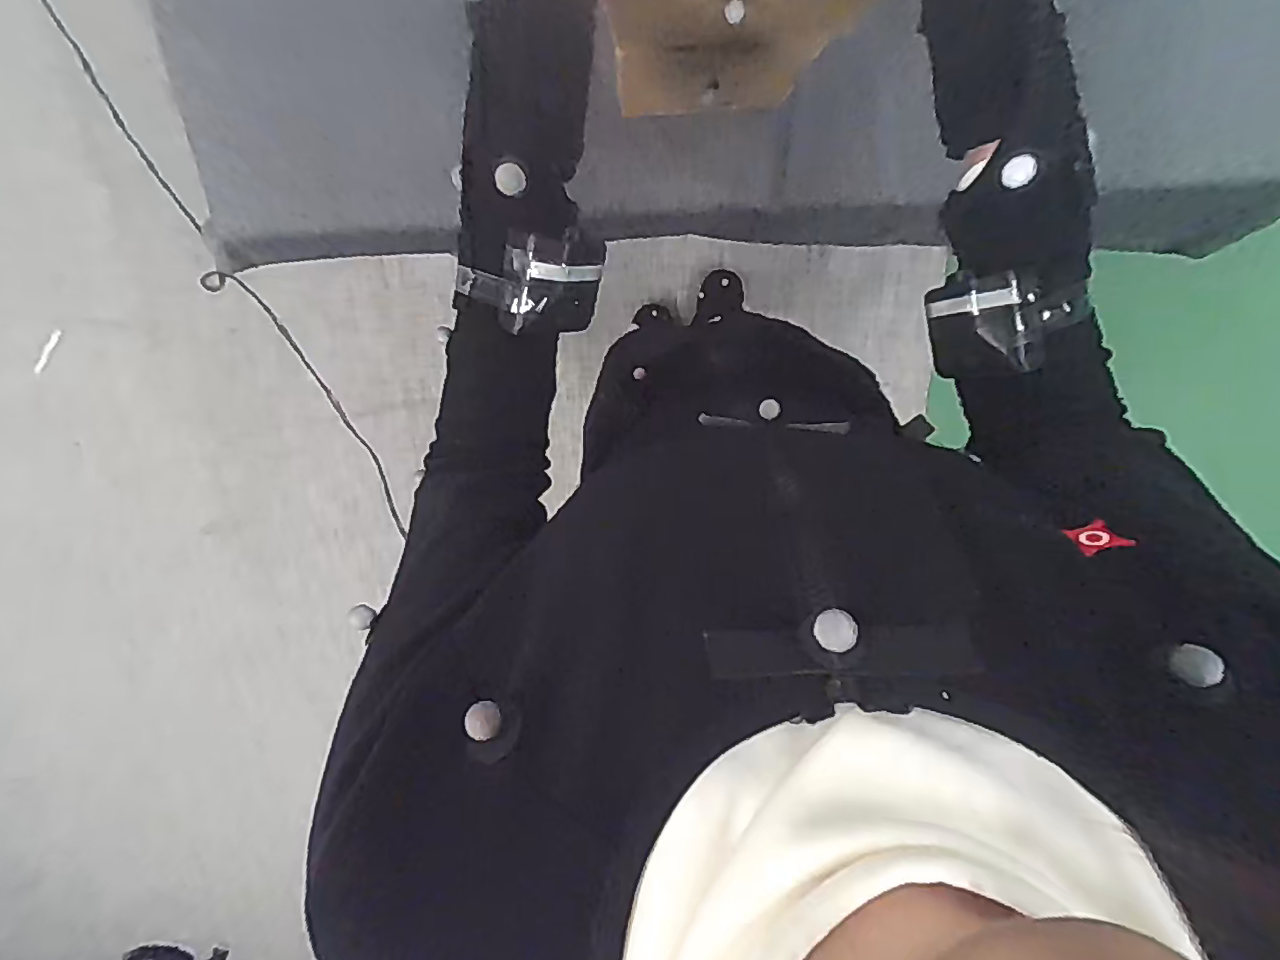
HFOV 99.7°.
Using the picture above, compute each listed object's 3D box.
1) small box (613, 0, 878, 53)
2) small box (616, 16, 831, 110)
[{"bbox_3d":[0.067,-0.370,0.305,0.179,0.176,0.168,-1,113,4],"label":"small box"},{"bbox_3d":[0.063,-0.436,0.459,0.168,0.176,0.179,-3,111,2],"label":"small box"}]
